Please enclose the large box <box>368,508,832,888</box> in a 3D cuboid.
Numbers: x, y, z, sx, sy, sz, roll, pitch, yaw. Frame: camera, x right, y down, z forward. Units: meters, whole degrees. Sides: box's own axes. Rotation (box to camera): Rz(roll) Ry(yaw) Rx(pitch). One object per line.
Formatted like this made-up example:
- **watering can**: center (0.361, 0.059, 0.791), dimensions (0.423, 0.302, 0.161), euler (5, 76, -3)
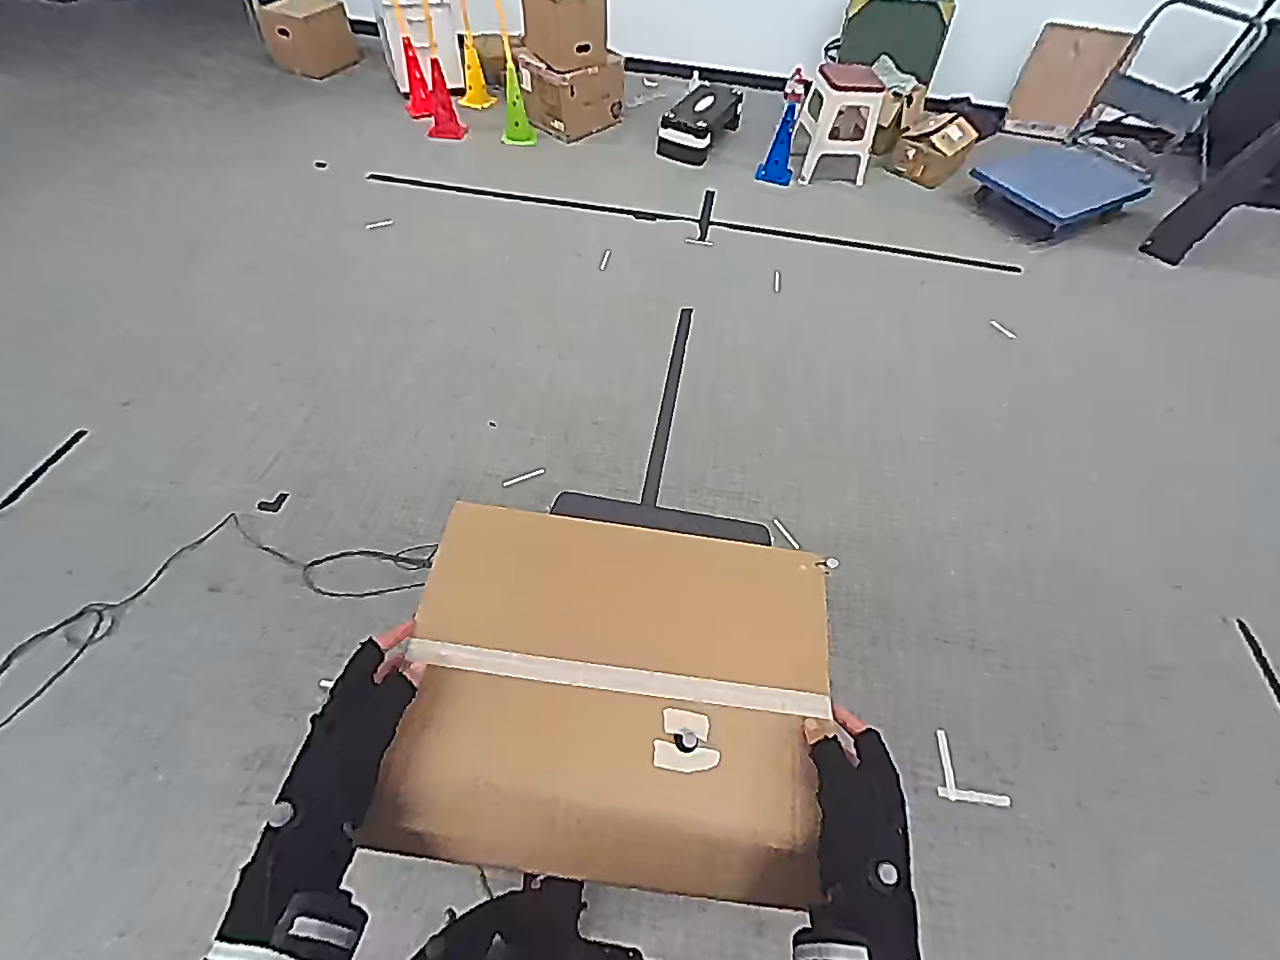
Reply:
- **large box**: center (-0.031, 0.258, 0.655), dimensions (0.408, 0.320, 0.320), euler (8, 62, -1)
